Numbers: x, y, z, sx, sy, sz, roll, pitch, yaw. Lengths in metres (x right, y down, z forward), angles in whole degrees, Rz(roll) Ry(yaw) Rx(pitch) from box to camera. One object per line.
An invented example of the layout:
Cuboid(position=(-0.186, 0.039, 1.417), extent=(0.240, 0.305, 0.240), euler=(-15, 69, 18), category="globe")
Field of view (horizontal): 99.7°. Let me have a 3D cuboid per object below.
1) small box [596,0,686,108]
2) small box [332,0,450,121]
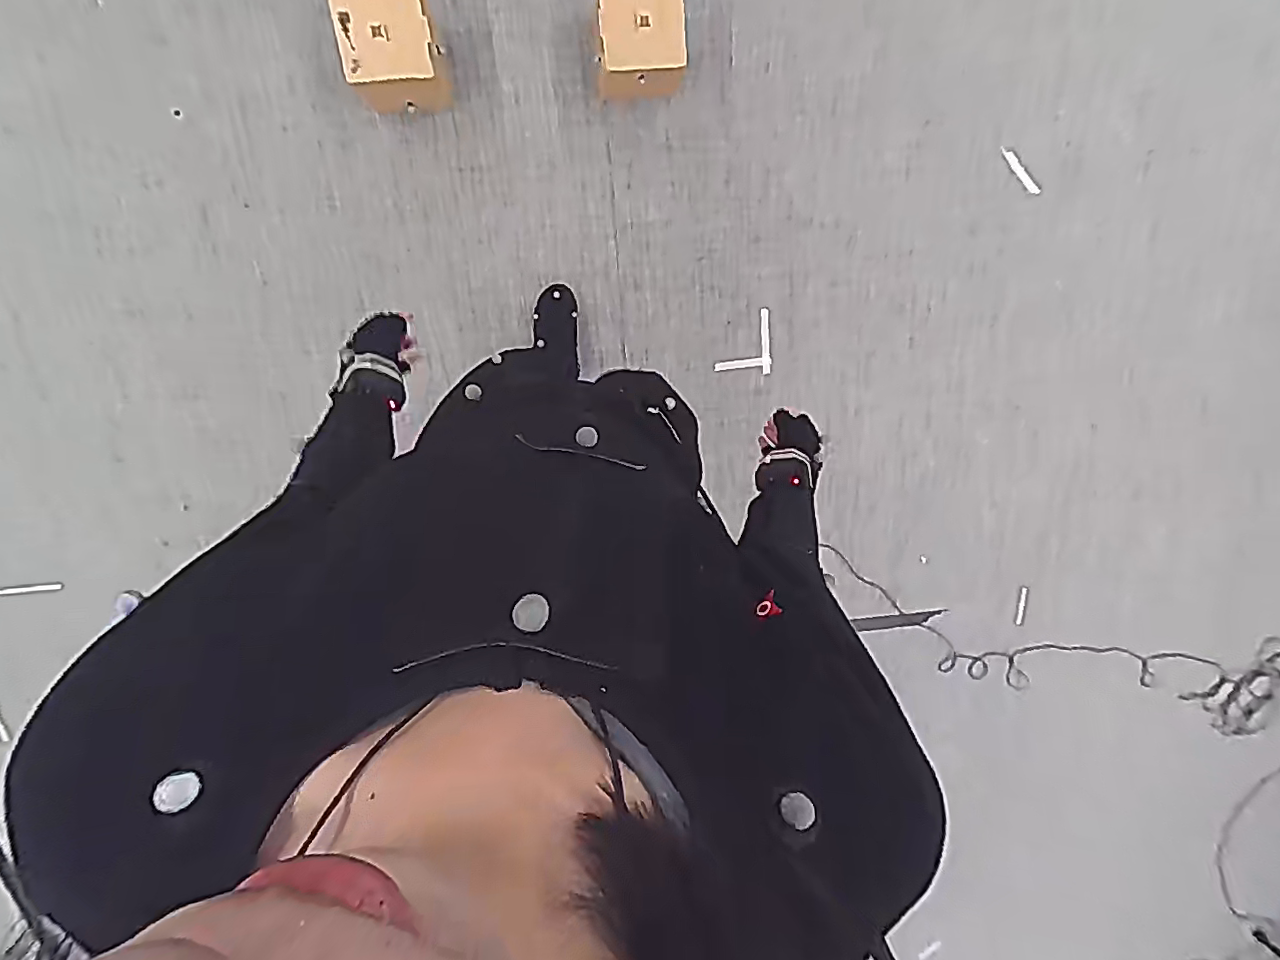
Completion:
Cuboid(position=(-0.004, -0.940, 1.187), extent=(0.179, 0.176, 0.168), euler=(-7, 108, -6), category="small box")
Cuboid(position=(-0.511, -0.883, 1.144), extent=(0.179, 0.176, 0.168), euler=(-7, 107, -5), category="small box")
